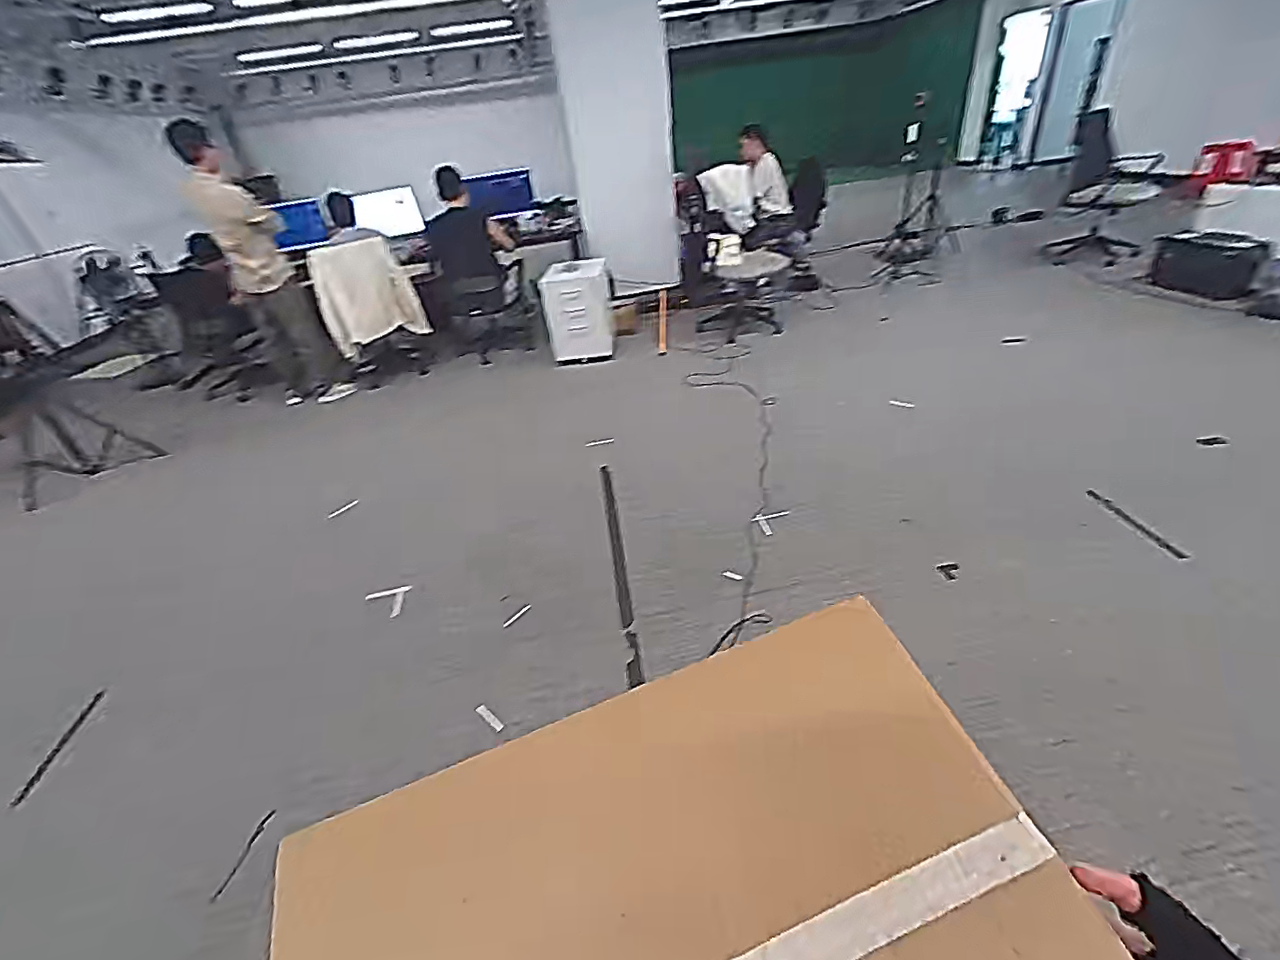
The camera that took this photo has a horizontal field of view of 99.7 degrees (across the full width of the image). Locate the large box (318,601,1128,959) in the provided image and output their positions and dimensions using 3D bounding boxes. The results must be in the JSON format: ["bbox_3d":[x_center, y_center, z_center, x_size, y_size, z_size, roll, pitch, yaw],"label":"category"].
[{"bbox_3d":[0.051,0.355,0.384,0.408,0.320,0.320,-20,51,-7],"label":"large box"}]
